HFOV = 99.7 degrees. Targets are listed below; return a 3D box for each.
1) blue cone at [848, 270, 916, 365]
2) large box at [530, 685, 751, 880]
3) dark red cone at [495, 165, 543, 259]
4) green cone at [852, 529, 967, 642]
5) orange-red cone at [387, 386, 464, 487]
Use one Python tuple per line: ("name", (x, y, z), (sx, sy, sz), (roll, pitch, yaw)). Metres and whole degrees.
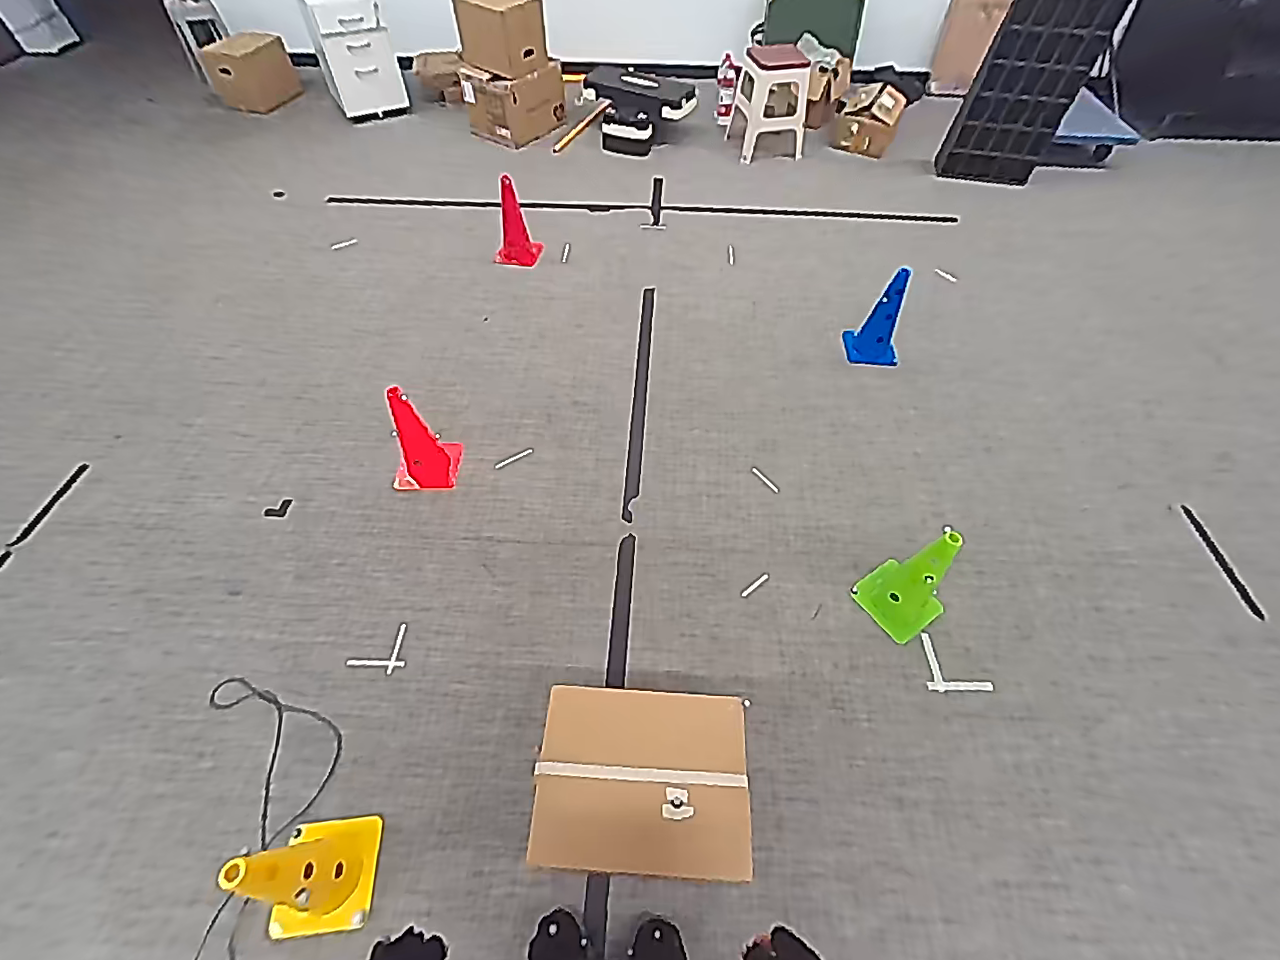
("blue cone", (0.965, -0.641, 2.102), (0.192, 0.380, 0.193), (6, 54, 2))
("large box", (0.002, 0.656, 1.162), (0.408, 0.320, 0.320), (4, 53, 1))
("dark red cone", (-0.569, -1.210, 2.442), (0.201, 0.394, 0.202), (8, 54, 4))
("green cone", (0.752, 0.244, 1.429), (0.202, 0.368, 0.200), (-28, 60, -21))
("orange-red cone", (-0.709, -0.154, 1.696), (0.198, 0.360, 0.199), (0, 55, 0))
